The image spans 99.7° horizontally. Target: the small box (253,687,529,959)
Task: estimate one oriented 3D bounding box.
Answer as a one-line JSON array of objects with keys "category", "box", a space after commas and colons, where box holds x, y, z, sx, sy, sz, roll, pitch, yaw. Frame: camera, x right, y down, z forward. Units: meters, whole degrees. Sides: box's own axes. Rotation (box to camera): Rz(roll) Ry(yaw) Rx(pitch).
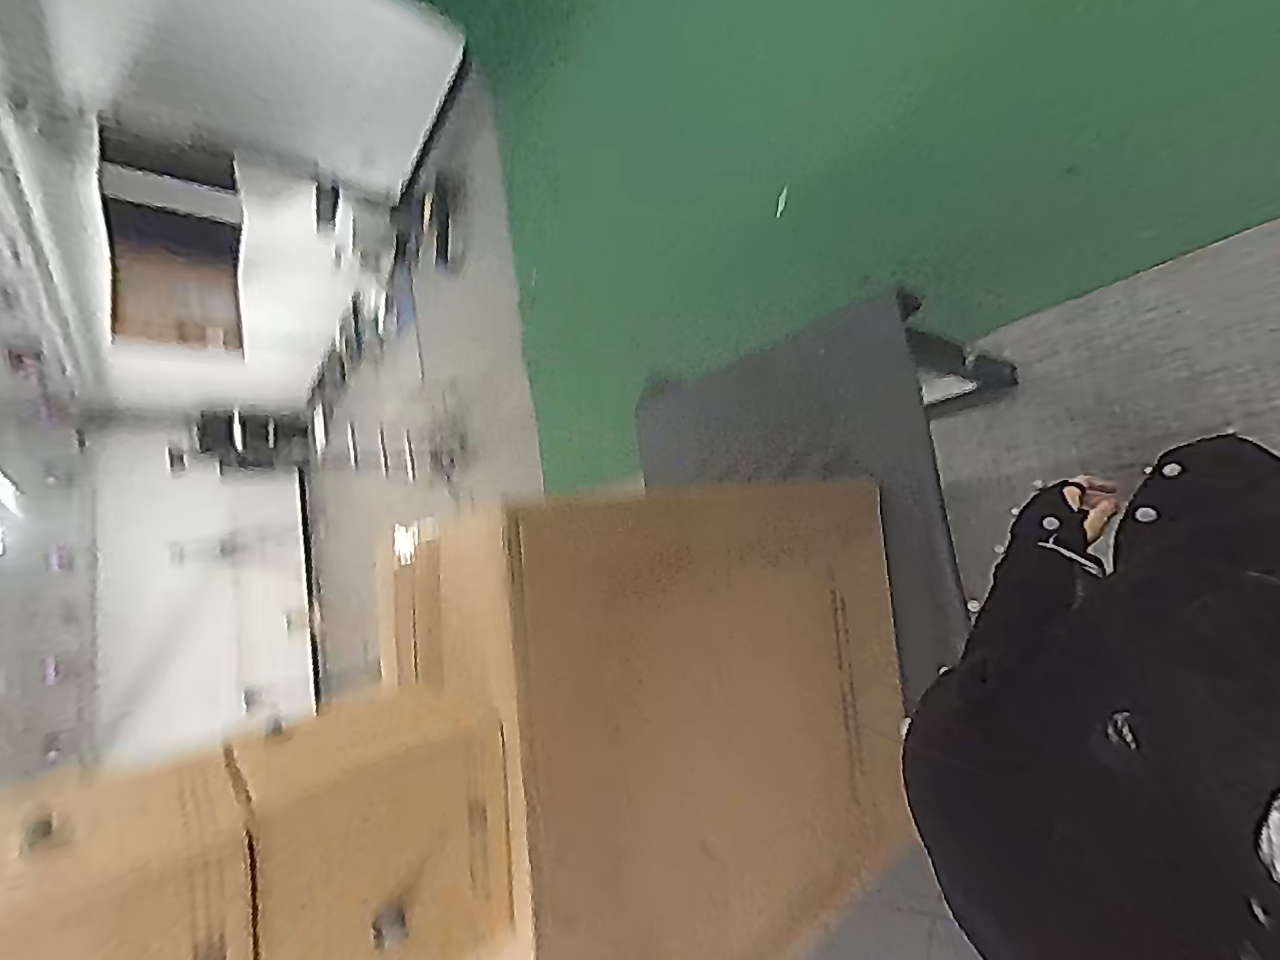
[{"category": "small box", "box": [-0.201, 0.286, 0.445, 0.179, 0.176, 0.168, -8, 85, 48]}]
